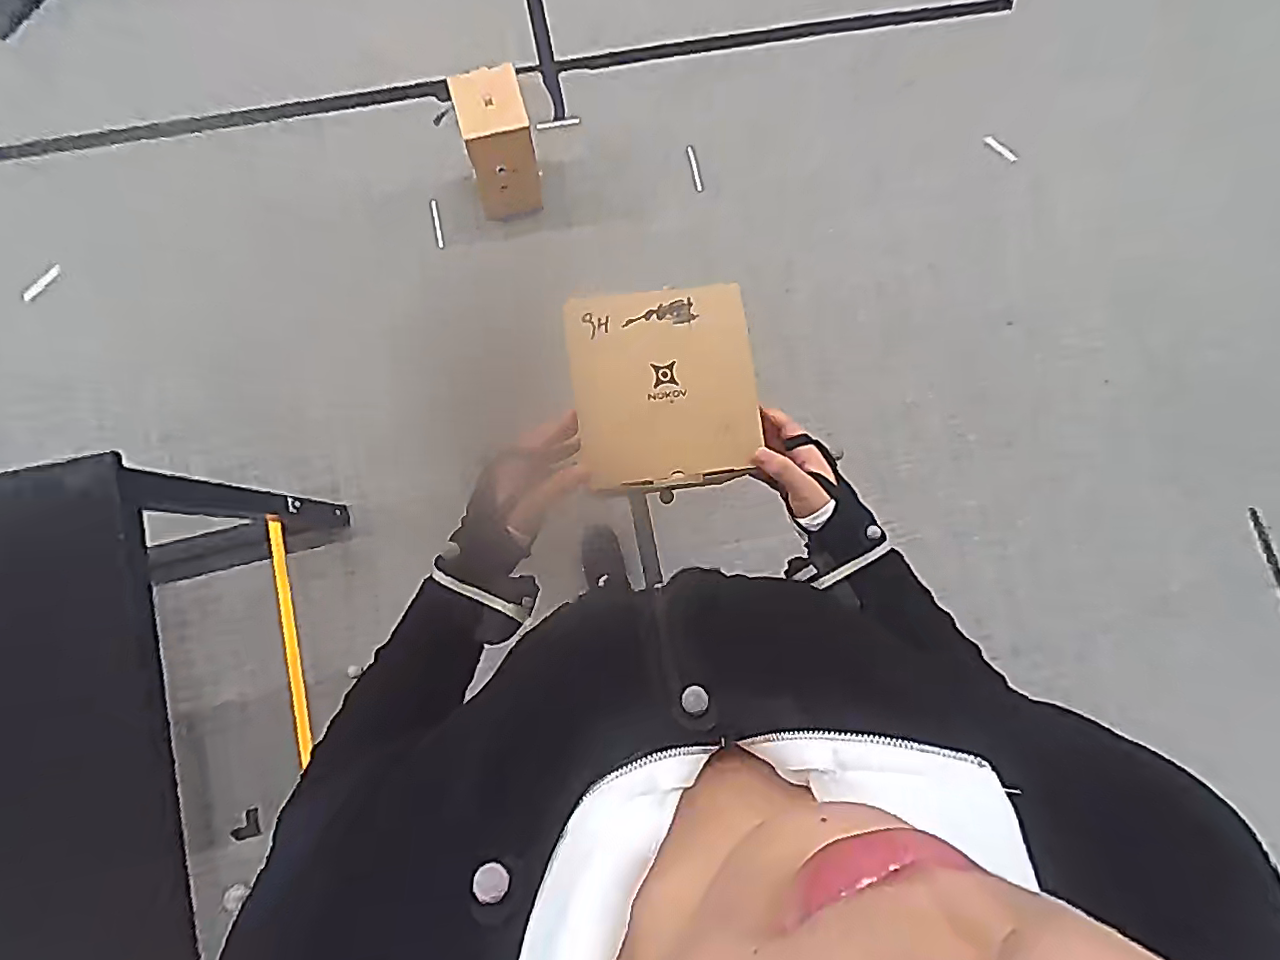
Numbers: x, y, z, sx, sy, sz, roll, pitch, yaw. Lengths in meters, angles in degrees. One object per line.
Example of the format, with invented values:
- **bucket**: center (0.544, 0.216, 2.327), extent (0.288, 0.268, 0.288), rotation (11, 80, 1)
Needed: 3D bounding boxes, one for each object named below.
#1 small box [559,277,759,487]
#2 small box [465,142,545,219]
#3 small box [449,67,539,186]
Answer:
- **small box**: center (0.013, -0.087, 0.567), extent (0.168, 0.176, 0.179), rotation (-8, 87, -4)
- **small box**: center (-0.383, -0.880, 1.549), extent (0.179, 0.176, 0.168), rotation (-14, 83, -6)
- **small box**: center (-0.369, -0.900, 1.389), extent (0.168, 0.176, 0.179), rotation (-17, 85, -4)
